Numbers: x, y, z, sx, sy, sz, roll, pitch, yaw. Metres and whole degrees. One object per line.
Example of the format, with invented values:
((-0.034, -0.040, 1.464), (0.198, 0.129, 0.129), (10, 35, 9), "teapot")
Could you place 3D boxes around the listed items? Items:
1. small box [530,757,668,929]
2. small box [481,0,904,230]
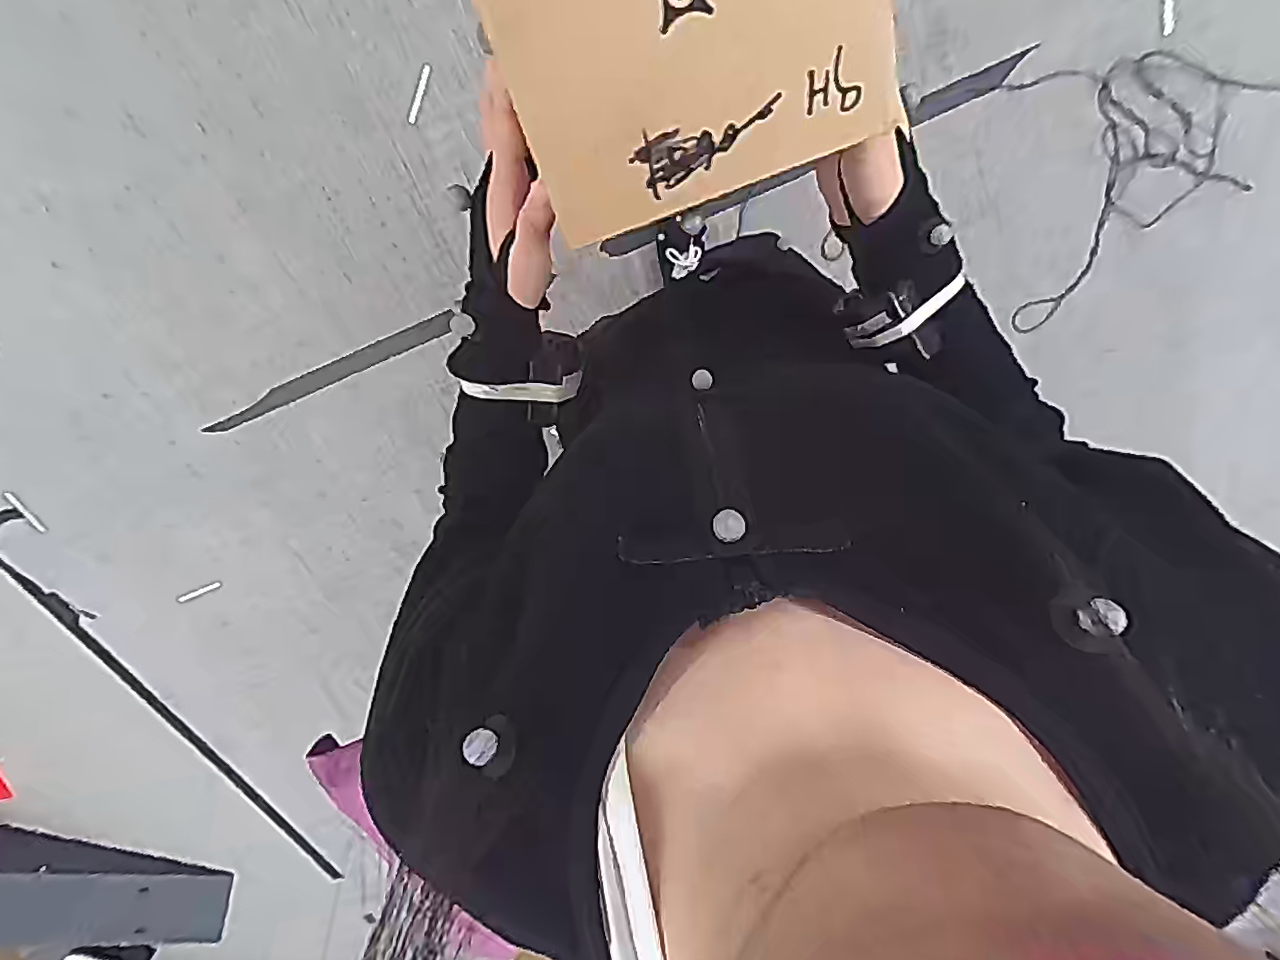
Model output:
((-0.065, 0.611, 0.924), (0.179, 0.176, 0.168), (-20, 111, 8), "small box")
((0.011, -0.252, 0.283), (0.168, 0.176, 0.179), (-18, 118, 8), "small box")
